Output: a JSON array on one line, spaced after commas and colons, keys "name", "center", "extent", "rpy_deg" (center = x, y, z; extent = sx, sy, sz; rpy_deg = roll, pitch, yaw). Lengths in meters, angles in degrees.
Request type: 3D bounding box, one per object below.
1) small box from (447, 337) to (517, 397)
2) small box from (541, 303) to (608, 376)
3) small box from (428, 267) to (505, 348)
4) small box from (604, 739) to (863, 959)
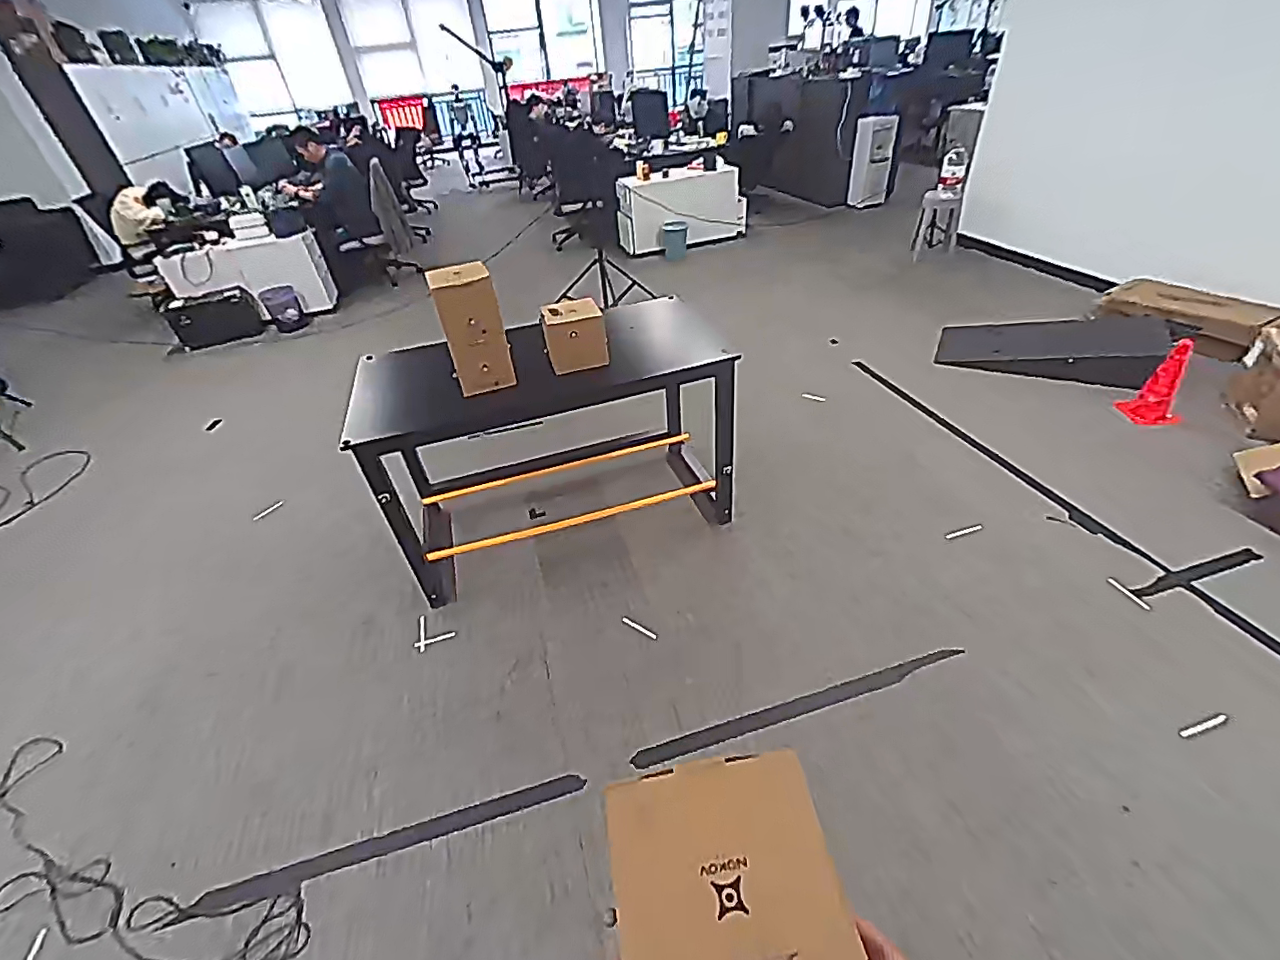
[{"name": "small box", "center": [-0.494, -0.375, 1.693], "extent": [0.168, 0.176, 0.179], "rpy_deg": [-18, 40, -13]}, {"name": "small box", "center": [-0.210, -0.453, 1.747], "extent": [0.179, 0.176, 0.168], "rpy_deg": [-14, 39, -10]}, {"name": "small box", "center": [-0.510, -0.507, 1.594], "extent": [0.168, 0.176, 0.179], "rpy_deg": [-19, 40, -14]}, {"name": "small box", "center": [0.066, 0.351, 0.456], "extent": [0.168, 0.176, 0.179], "rpy_deg": [-9, 45, -4]}]
